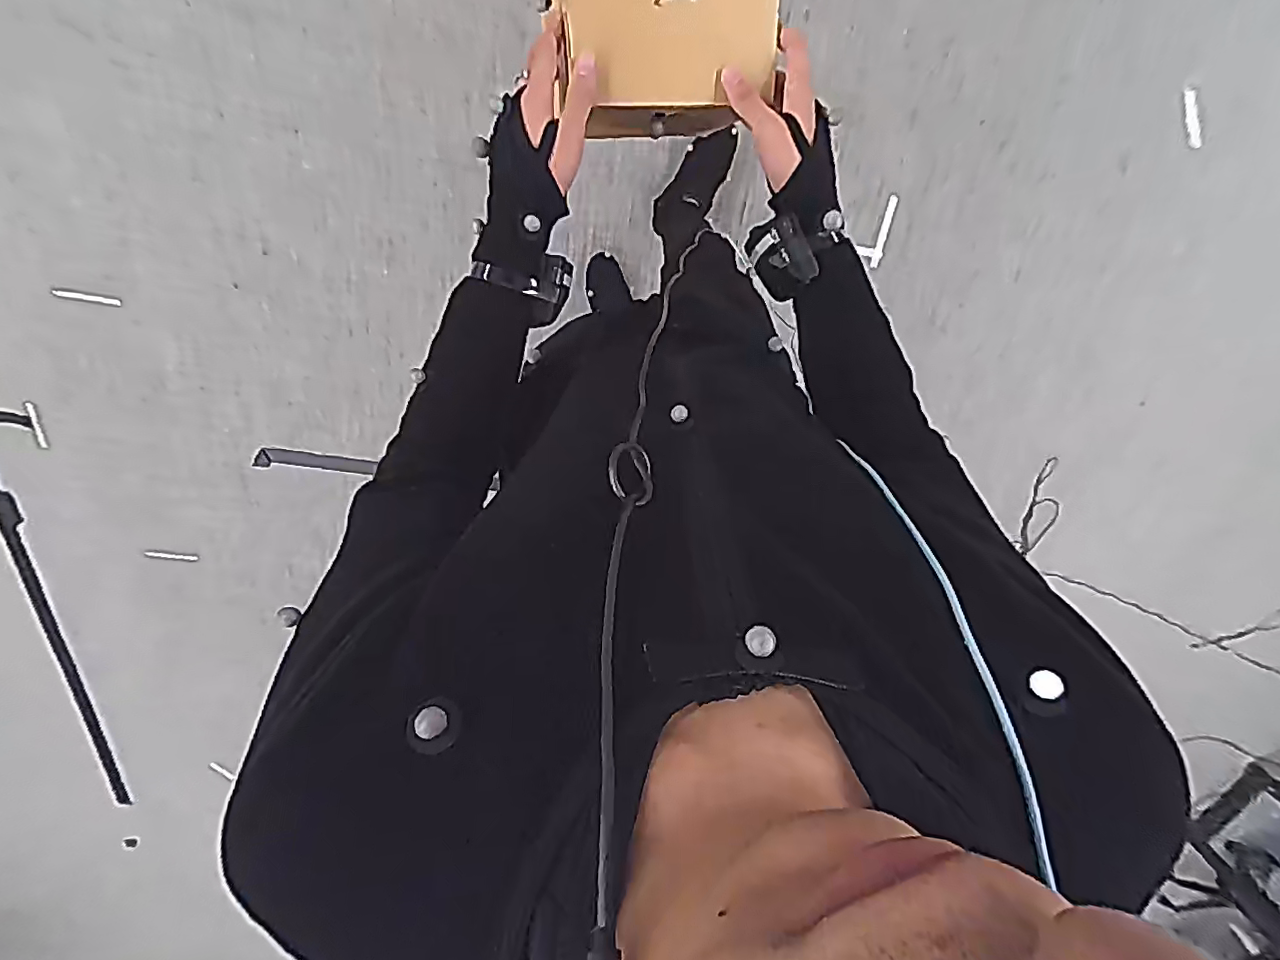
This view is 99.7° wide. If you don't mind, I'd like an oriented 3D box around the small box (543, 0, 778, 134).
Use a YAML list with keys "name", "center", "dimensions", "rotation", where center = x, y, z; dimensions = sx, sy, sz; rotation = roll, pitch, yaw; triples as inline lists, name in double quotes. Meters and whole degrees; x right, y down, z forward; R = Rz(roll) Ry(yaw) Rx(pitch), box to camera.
- name: "small box"
  center: [0.009, -0.420, 0.485]
  dimensions: [0.179, 0.176, 0.168]
  rotation: [-8, 116, -10]
